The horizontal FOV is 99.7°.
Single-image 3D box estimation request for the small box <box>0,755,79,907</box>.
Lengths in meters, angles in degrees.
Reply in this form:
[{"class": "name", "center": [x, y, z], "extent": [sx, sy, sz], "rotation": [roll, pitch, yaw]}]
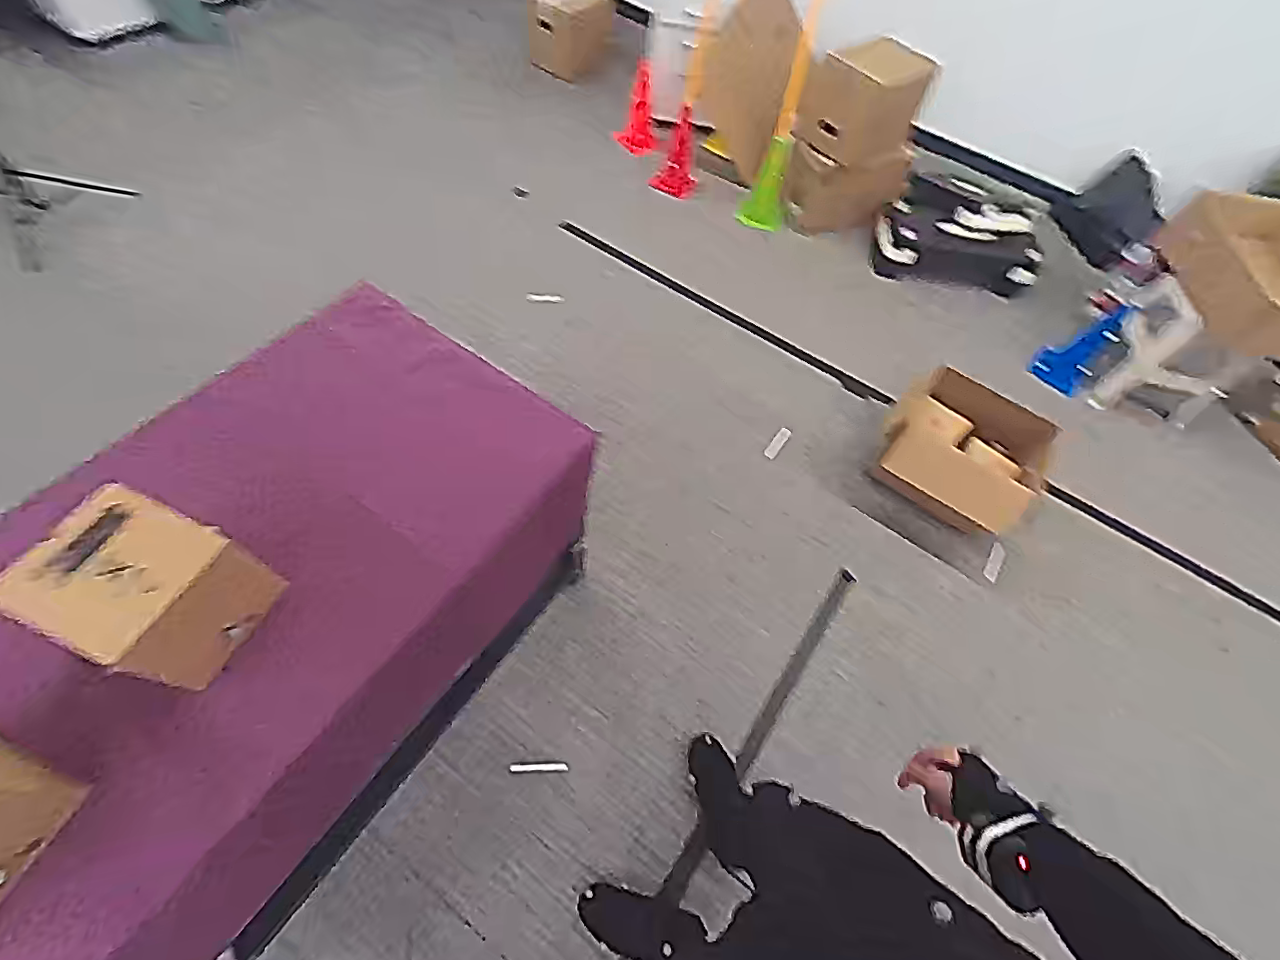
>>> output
[{"class": "small box", "center": [-0.758, 0.373, 0.542], "extent": [0.179, 0.176, 0.168], "rotation": [21, 61, 5]}]
